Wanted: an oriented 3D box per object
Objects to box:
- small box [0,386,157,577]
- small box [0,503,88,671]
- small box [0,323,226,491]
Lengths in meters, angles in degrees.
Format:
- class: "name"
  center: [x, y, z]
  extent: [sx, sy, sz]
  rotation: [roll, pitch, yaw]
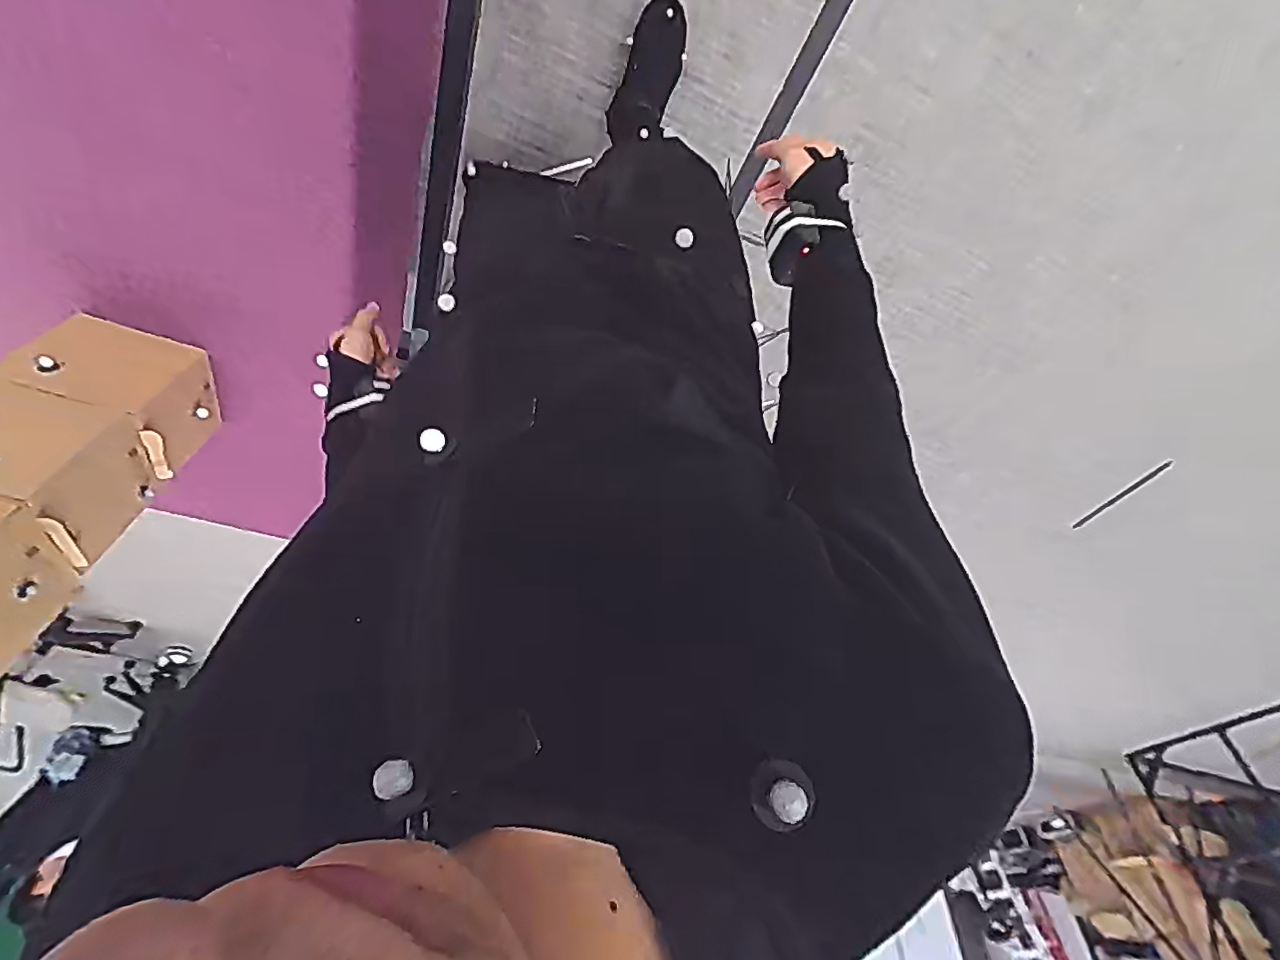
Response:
- class: "small box"
  center: [-0.795, 0.000, 0.715]
  extent: [0.179, 0.176, 0.168]
  rotation: [15, 133, -10]
- class: "small box"
  center: [-0.809, 0.124, 0.608]
  extent: [0.179, 0.176, 0.168]
  rotation: [11, 134, -8]
- class: "small box"
  center: [-0.787, -0.116, 0.830]
  extent: [0.179, 0.176, 0.168]
  rotation: [17, 134, -14]
